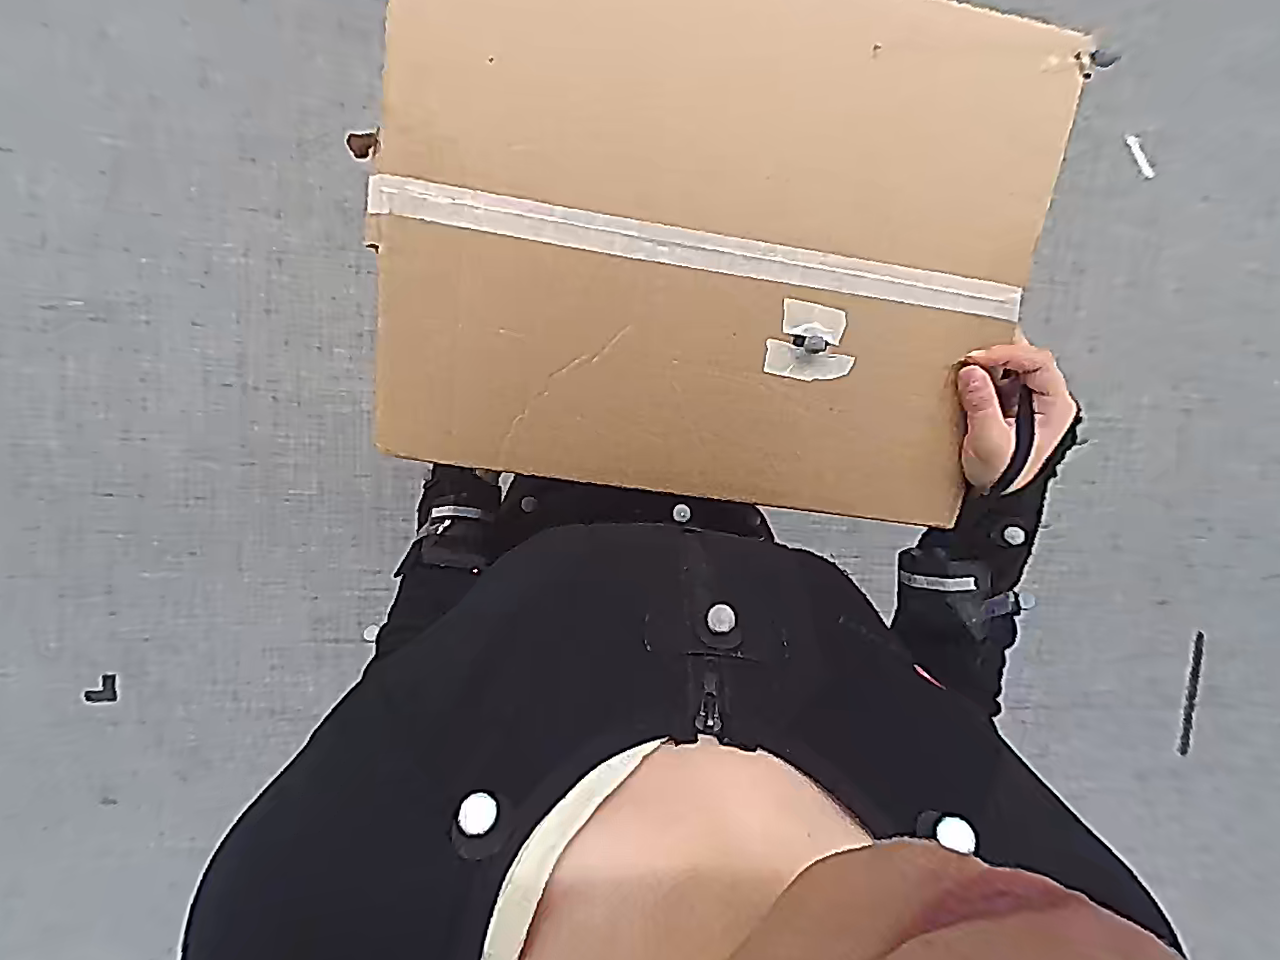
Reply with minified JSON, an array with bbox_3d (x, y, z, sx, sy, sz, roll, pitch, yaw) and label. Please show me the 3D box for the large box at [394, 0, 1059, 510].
[{"bbox_3d":[0.035,-0.177,0.491,0.408,0.320,0.320,7,103,-7],"label":"large box"}]
